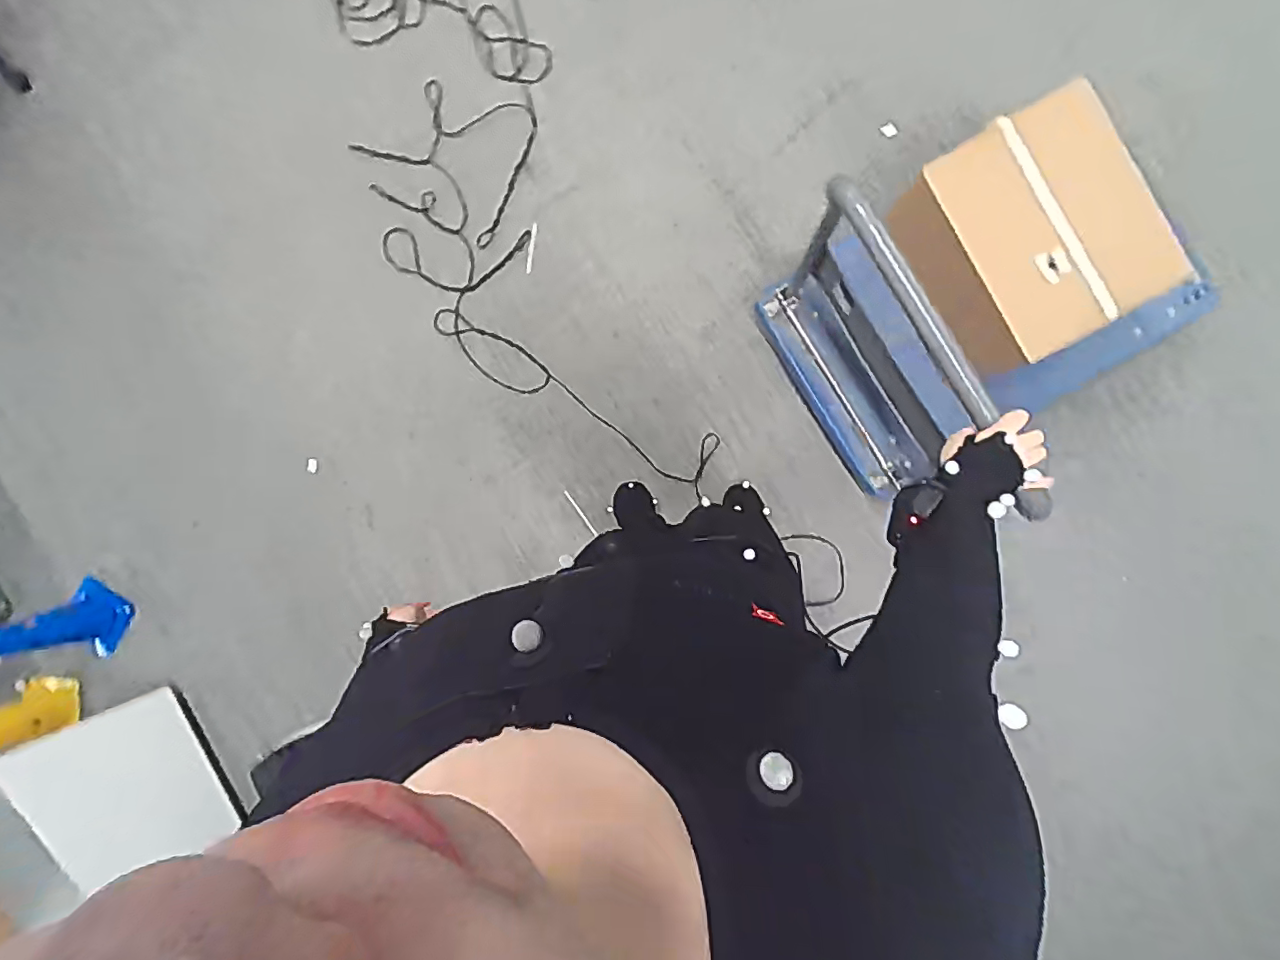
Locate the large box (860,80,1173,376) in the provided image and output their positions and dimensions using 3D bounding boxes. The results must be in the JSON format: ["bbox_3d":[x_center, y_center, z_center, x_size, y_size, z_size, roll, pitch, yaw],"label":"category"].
[{"bbox_3d":[0.735,-0.482,1.125,0.320,0.320,0.408,-29,90,6],"label":"large box"}]
